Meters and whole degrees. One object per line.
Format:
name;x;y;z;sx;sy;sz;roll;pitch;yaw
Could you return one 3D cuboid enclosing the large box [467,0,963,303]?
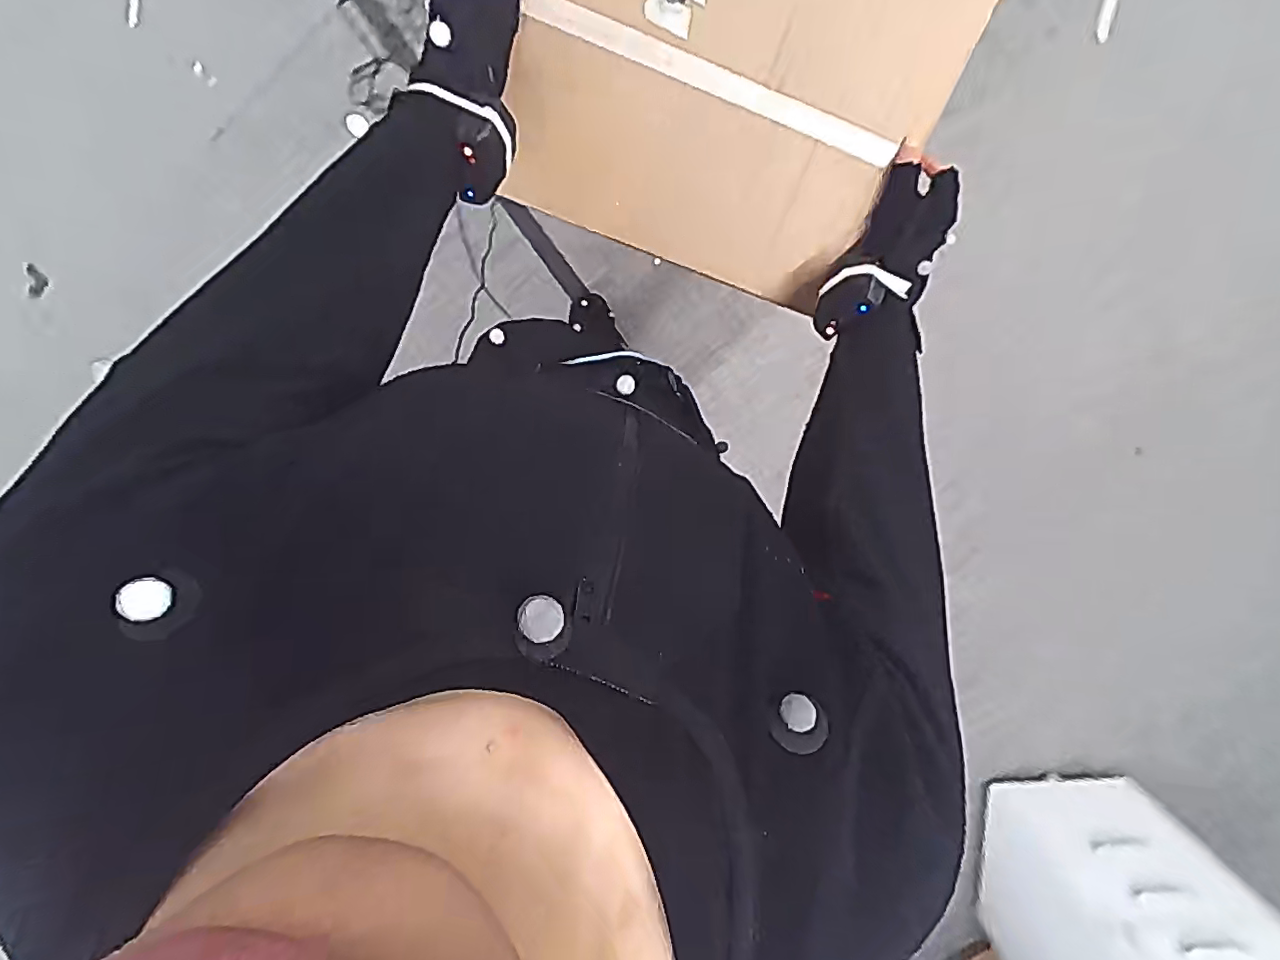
large box;0.066;-0.441;0.638;0.408;0.320;0.320;18;114;-6
